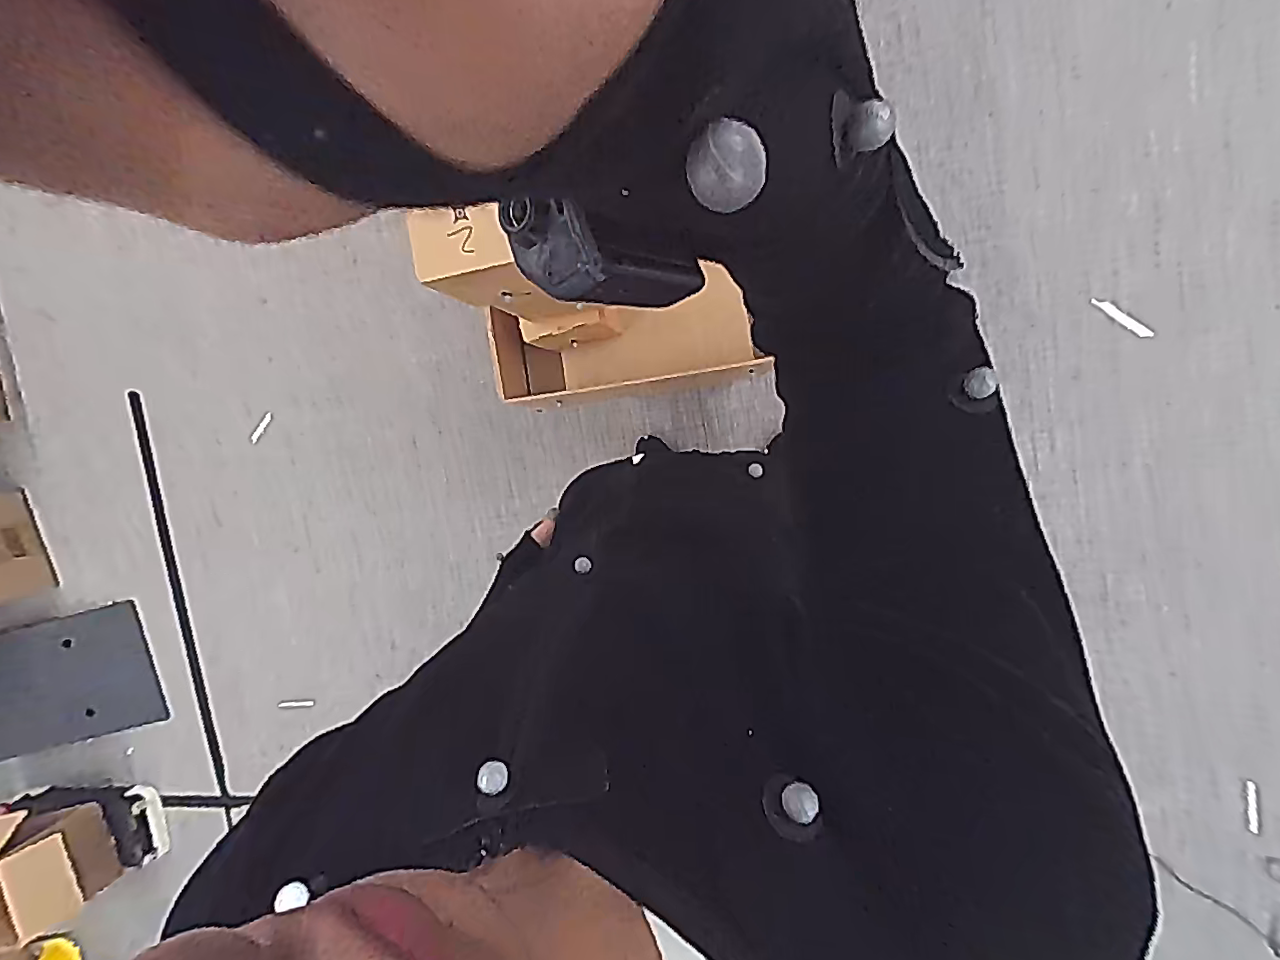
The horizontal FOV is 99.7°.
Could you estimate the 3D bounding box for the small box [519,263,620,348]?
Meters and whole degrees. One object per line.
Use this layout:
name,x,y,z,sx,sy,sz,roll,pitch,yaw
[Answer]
small box,-0.151,-0.387,1.123,0.168,0.176,0.179,-12,94,13

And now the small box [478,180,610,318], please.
small box,-0.158,-0.395,0.956,0.179,0.176,0.168,-7,94,12
